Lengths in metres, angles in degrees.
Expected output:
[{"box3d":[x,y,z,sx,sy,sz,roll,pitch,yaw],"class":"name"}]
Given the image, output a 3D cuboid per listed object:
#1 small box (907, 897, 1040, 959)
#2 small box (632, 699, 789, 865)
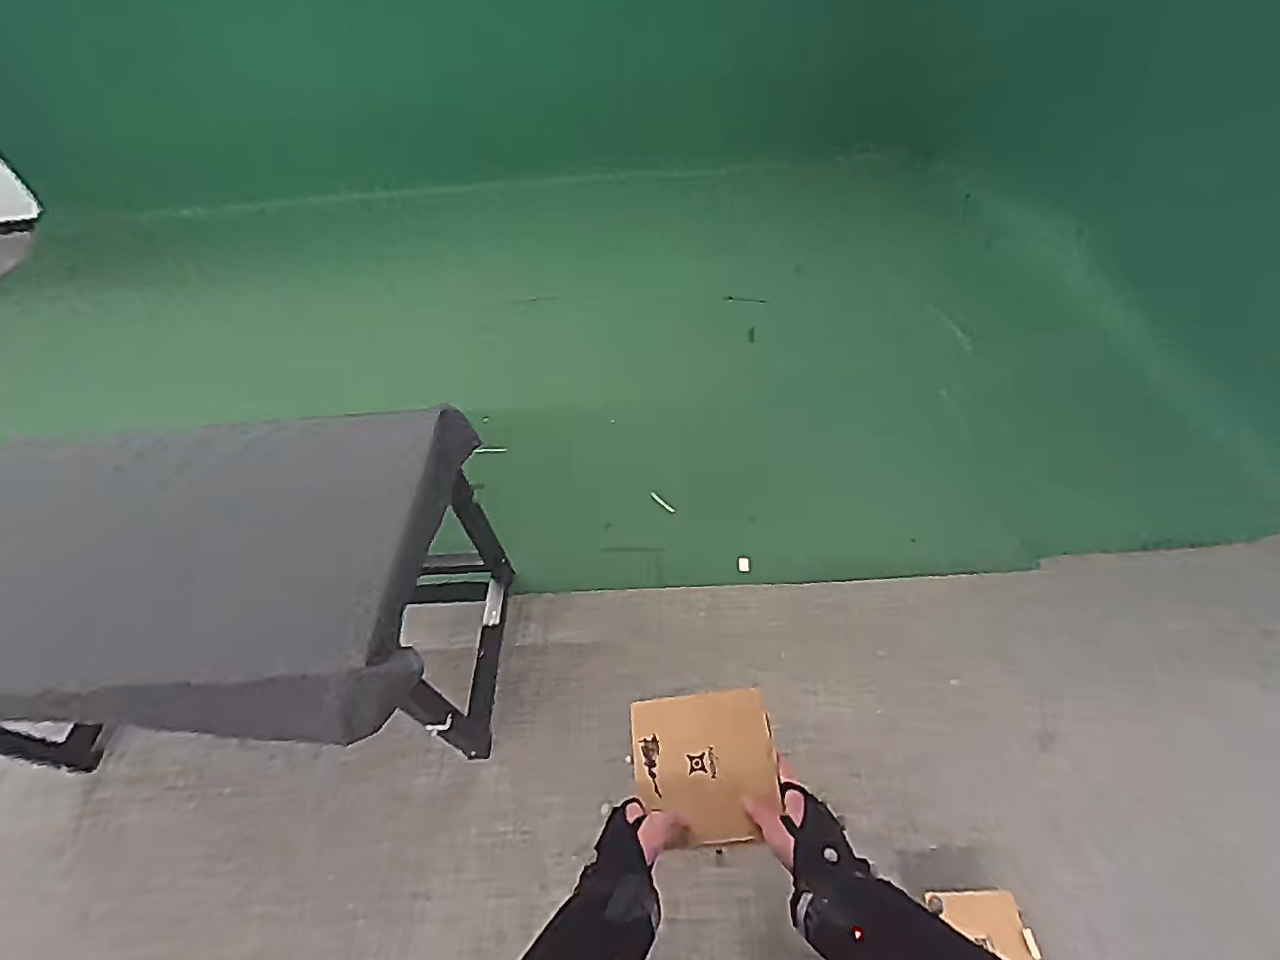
[{"box3d":[0.663,0.941,1.074,0.179,0.176,0.168,-1,49,4],"class":"small box"},{"box3d":[0.087,0.405,0.720,0.179,0.176,0.168,-7,51,4],"class":"small box"}]
